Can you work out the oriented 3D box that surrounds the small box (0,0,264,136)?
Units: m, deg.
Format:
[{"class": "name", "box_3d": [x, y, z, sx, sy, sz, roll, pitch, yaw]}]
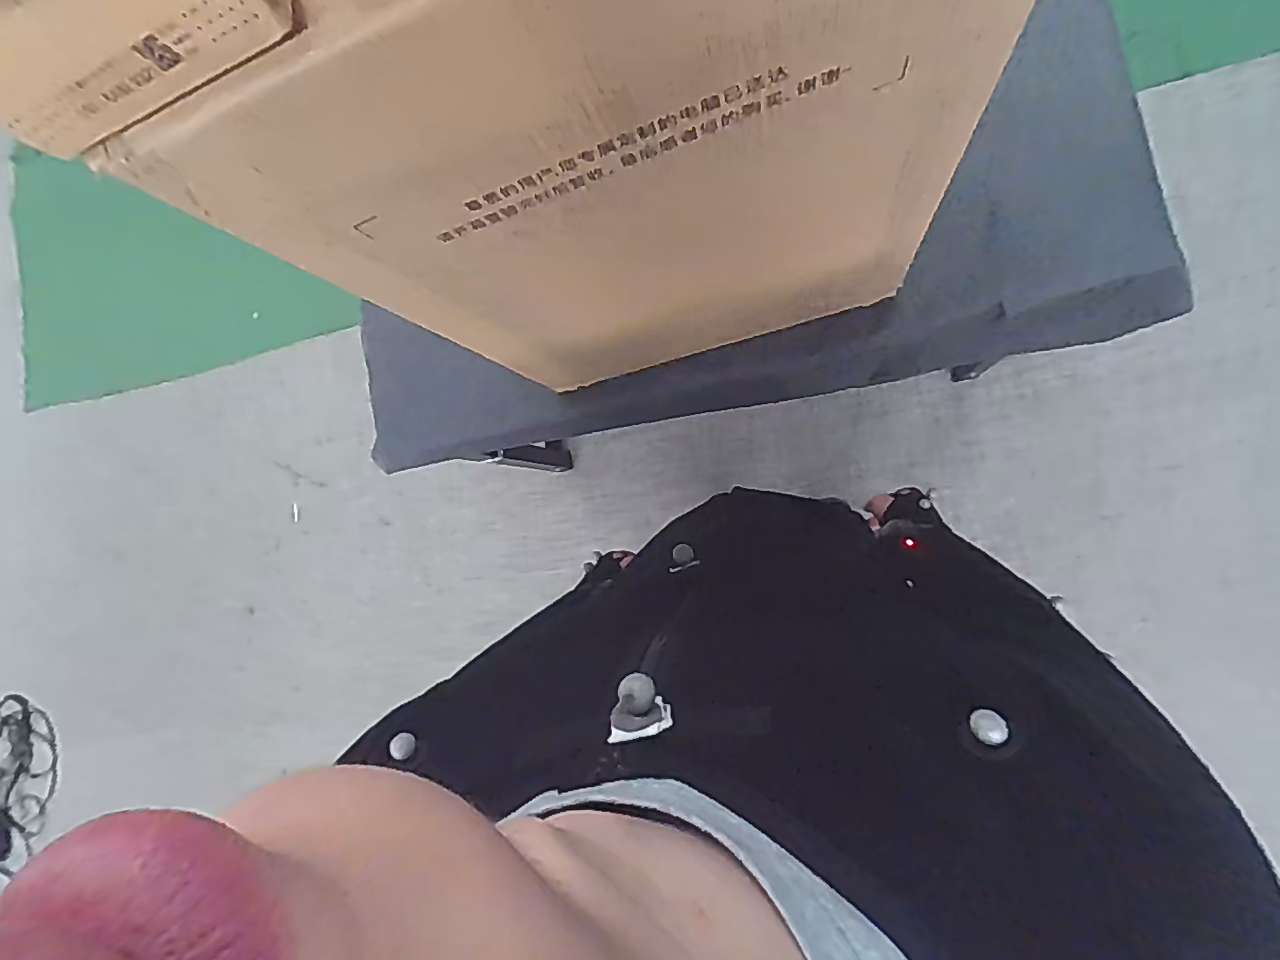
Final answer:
[{"class": "small box", "box_3d": [-0.281, -0.272, 0.204, 0.168, 0.176, 0.179, -13, 85, 16]}]
